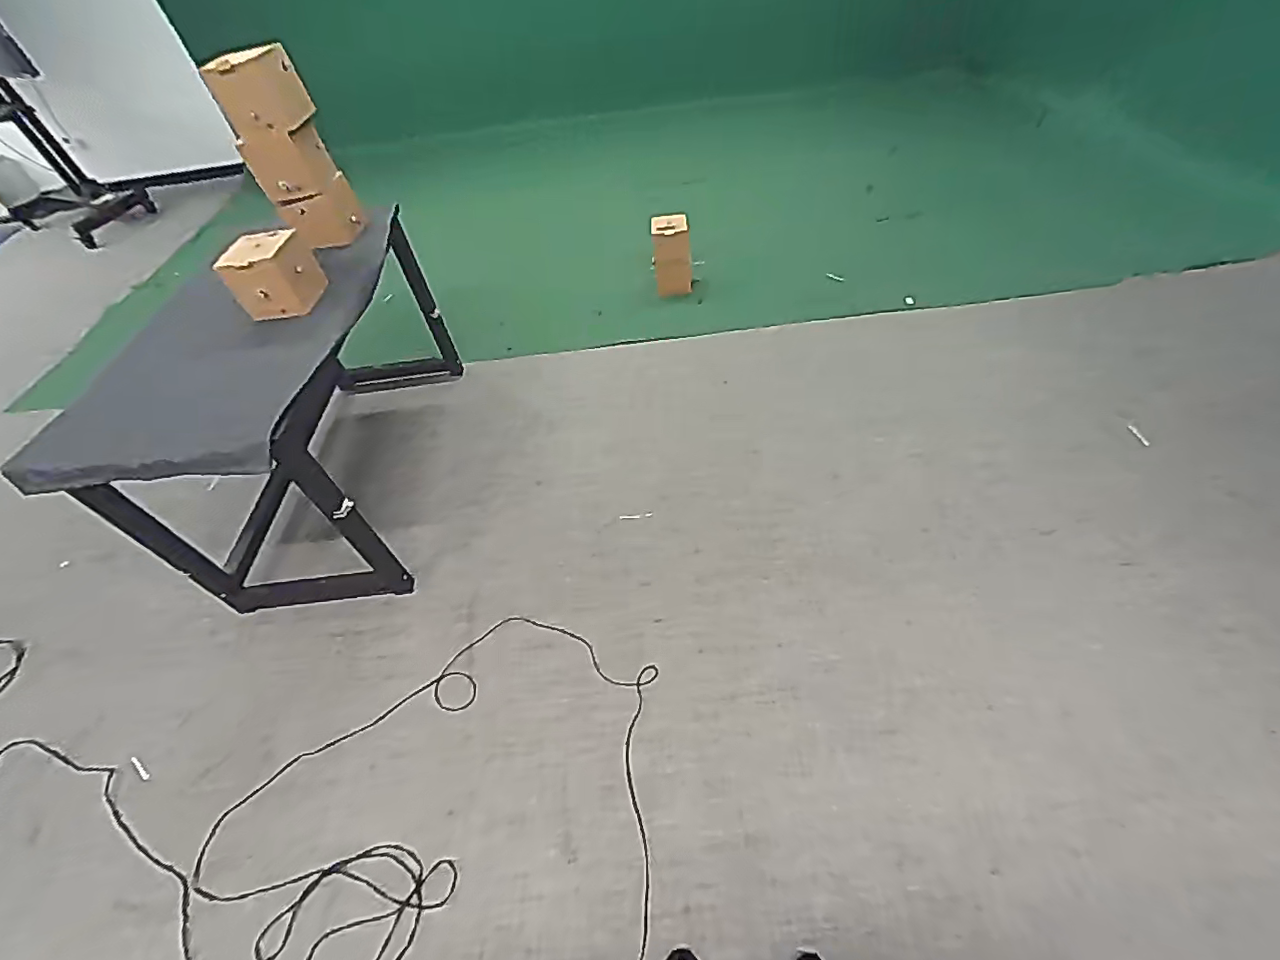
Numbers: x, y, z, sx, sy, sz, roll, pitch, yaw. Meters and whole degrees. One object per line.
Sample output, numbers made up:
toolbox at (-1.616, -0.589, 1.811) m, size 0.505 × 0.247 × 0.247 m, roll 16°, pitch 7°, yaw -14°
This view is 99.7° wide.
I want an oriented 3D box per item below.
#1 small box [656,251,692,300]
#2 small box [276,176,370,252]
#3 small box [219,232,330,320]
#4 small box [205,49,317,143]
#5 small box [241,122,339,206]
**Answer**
small box at (0.172, -1.029, 2.723) m, size 0.179 × 0.176 × 0.168 m, roll -3°, pitch 50°, yaw 5°
small box at (-1.032, -0.871, 1.779) m, size 0.179 × 0.176 × 0.168 m, roll -3°, pitch 50°, yaw 7°
small box at (-1.011, -0.564, 1.517) m, size 0.168 × 0.176 × 0.179 m, roll -6°, pitch 50°, yaw 5°
small box at (-1.057, -1.084, 1.531) m, size 0.168 × 0.176 × 0.179 m, roll -7°, pitch 50°, yaw 7°
small box at (-1.055, -0.966, 1.649) m, size 0.168 × 0.176 × 0.179 m, roll -10°, pitch 51°, yaw 4°
